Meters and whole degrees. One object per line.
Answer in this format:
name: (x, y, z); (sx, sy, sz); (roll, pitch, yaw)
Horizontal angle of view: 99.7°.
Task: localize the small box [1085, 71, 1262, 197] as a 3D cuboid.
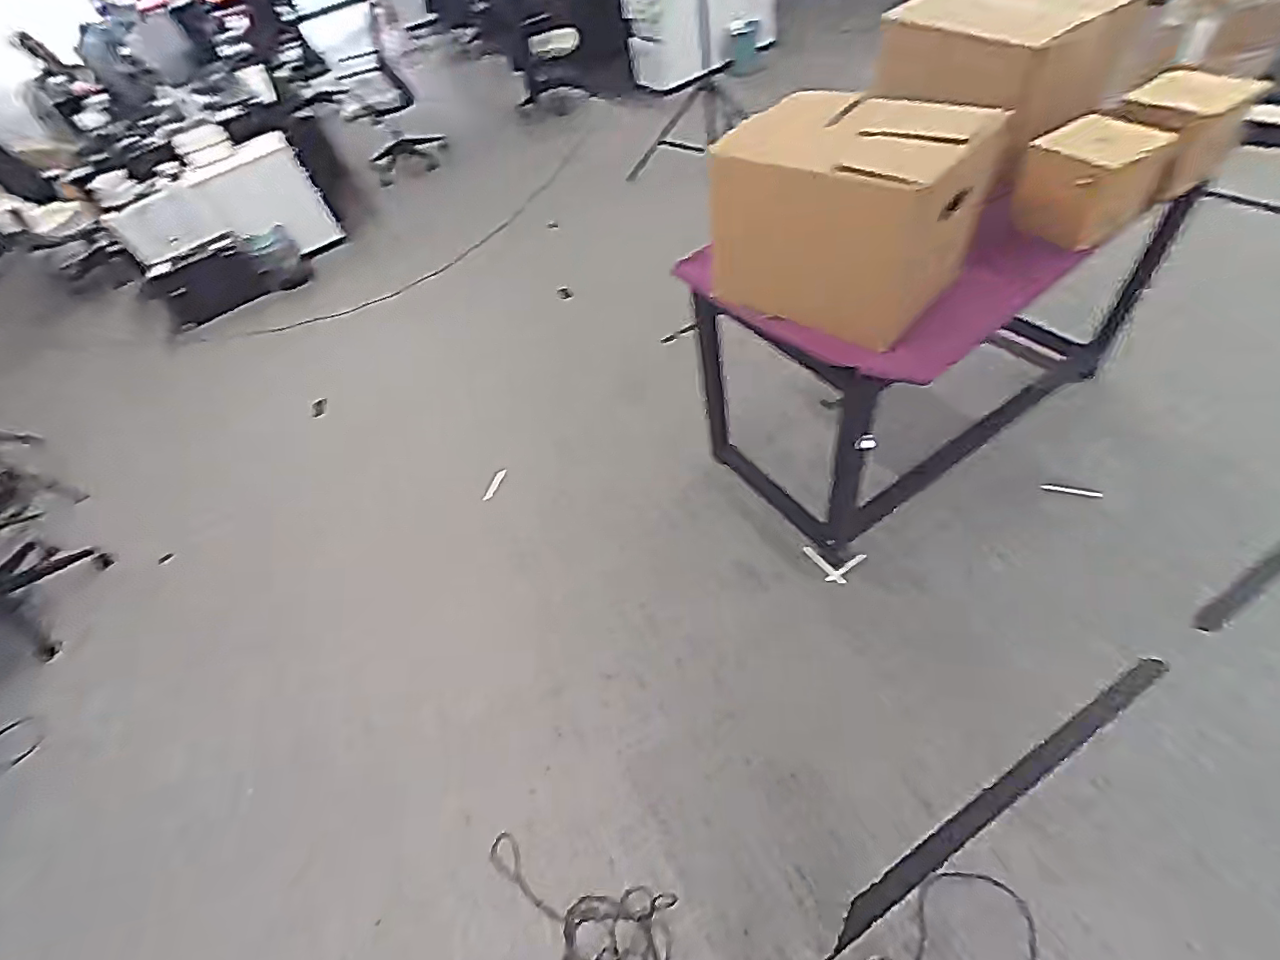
small box: (1.120, -0.732, 1.153); (0.168, 0.176, 0.179); (-29, 50, -10)
